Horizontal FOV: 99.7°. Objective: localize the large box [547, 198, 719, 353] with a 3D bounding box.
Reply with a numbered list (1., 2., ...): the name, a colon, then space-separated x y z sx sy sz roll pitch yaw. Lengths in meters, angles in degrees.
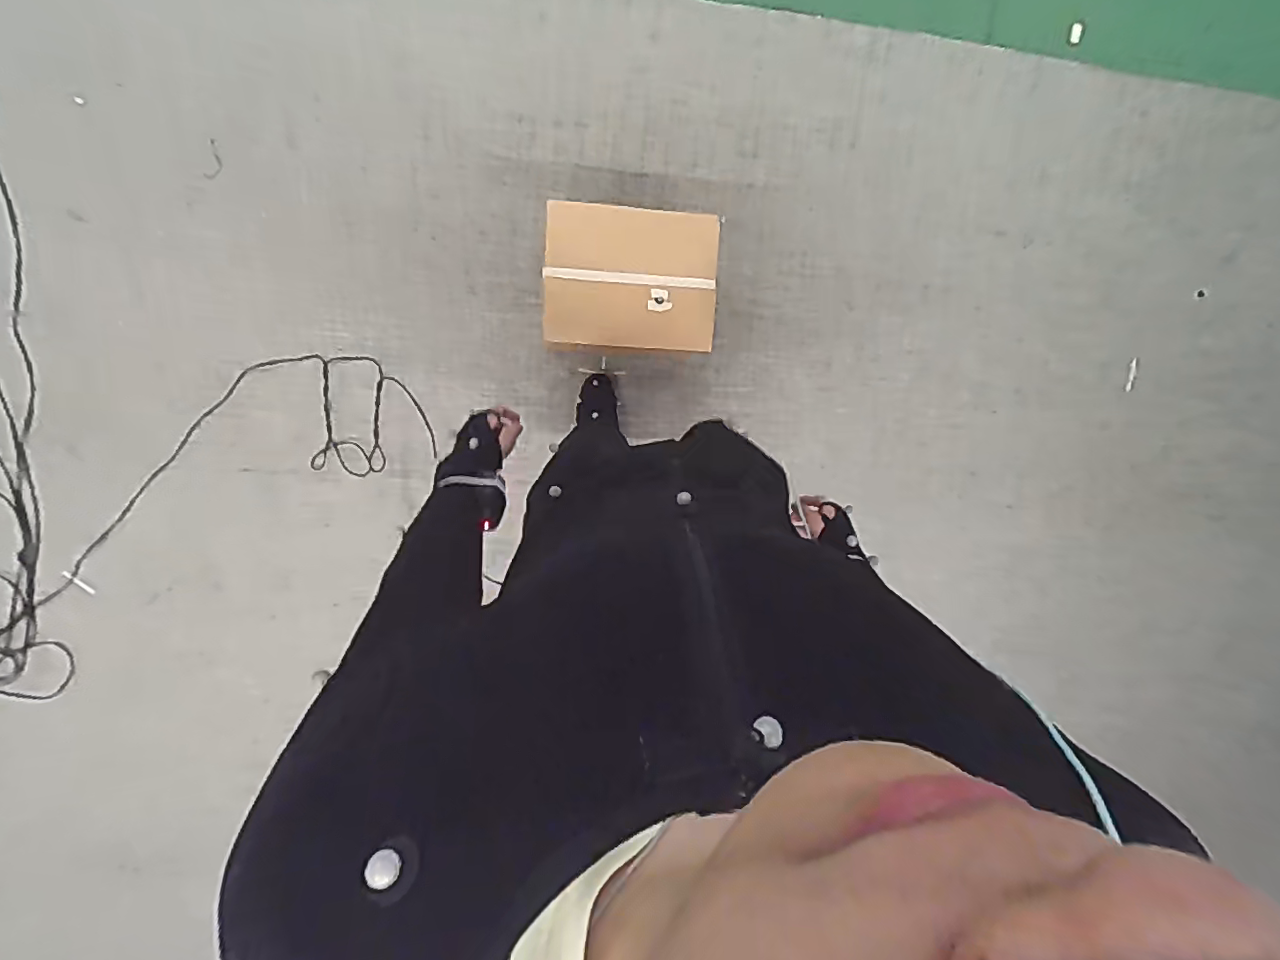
1. large box: -0.034 -0.505 1.408 0.408 0.320 0.320 1 99 -8
